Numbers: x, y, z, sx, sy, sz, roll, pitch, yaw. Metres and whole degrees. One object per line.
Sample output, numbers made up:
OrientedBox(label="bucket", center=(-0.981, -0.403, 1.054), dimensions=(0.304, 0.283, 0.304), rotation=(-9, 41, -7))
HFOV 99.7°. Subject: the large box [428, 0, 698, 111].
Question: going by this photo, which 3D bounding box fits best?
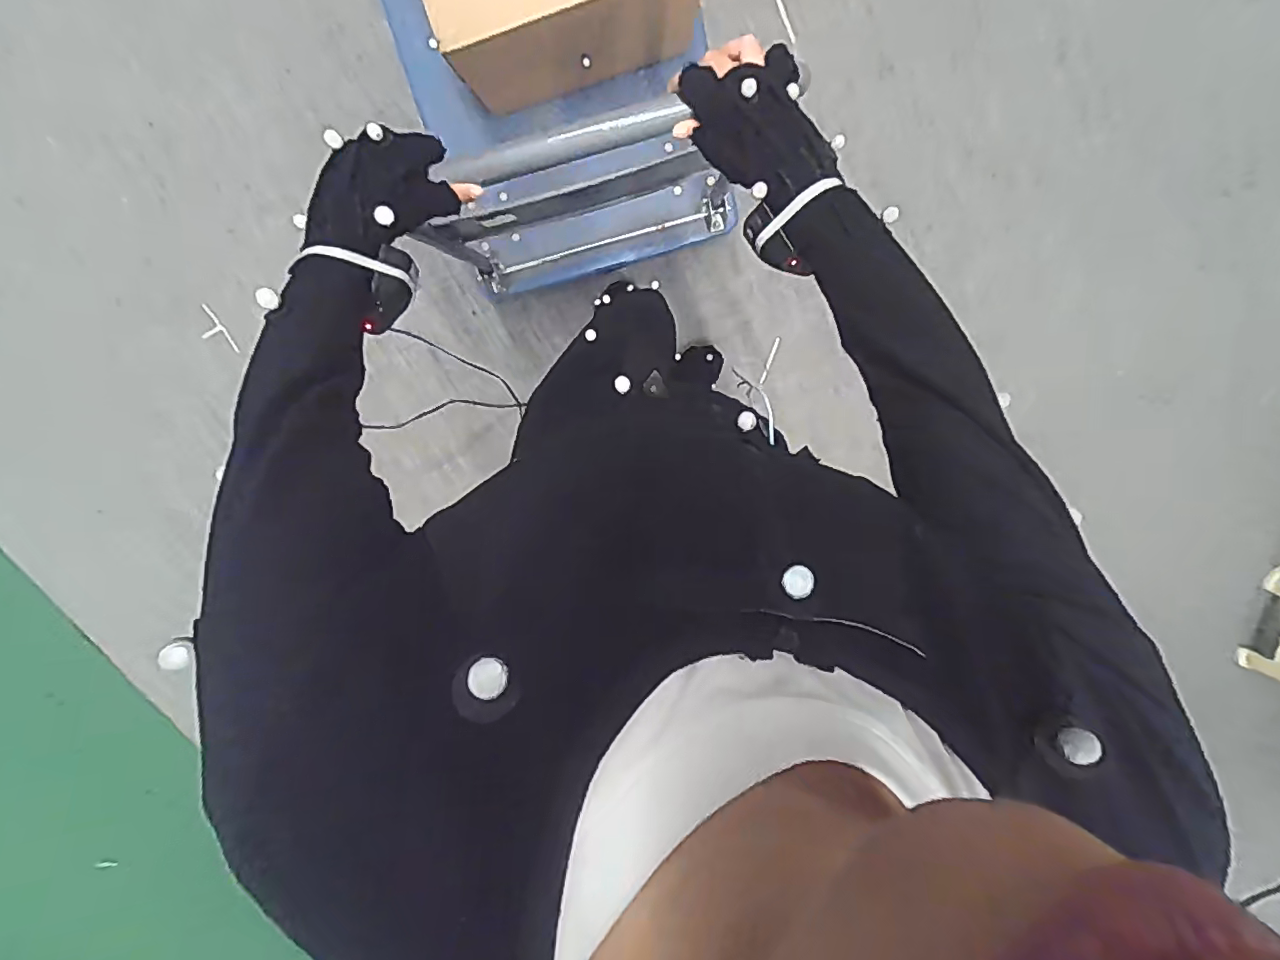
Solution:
OrientedBox(label="large box", center=(-0.137, -0.873, 0.874), dimensions=(0.408, 0.320, 0.320), rotation=(-15, 108, 7))
